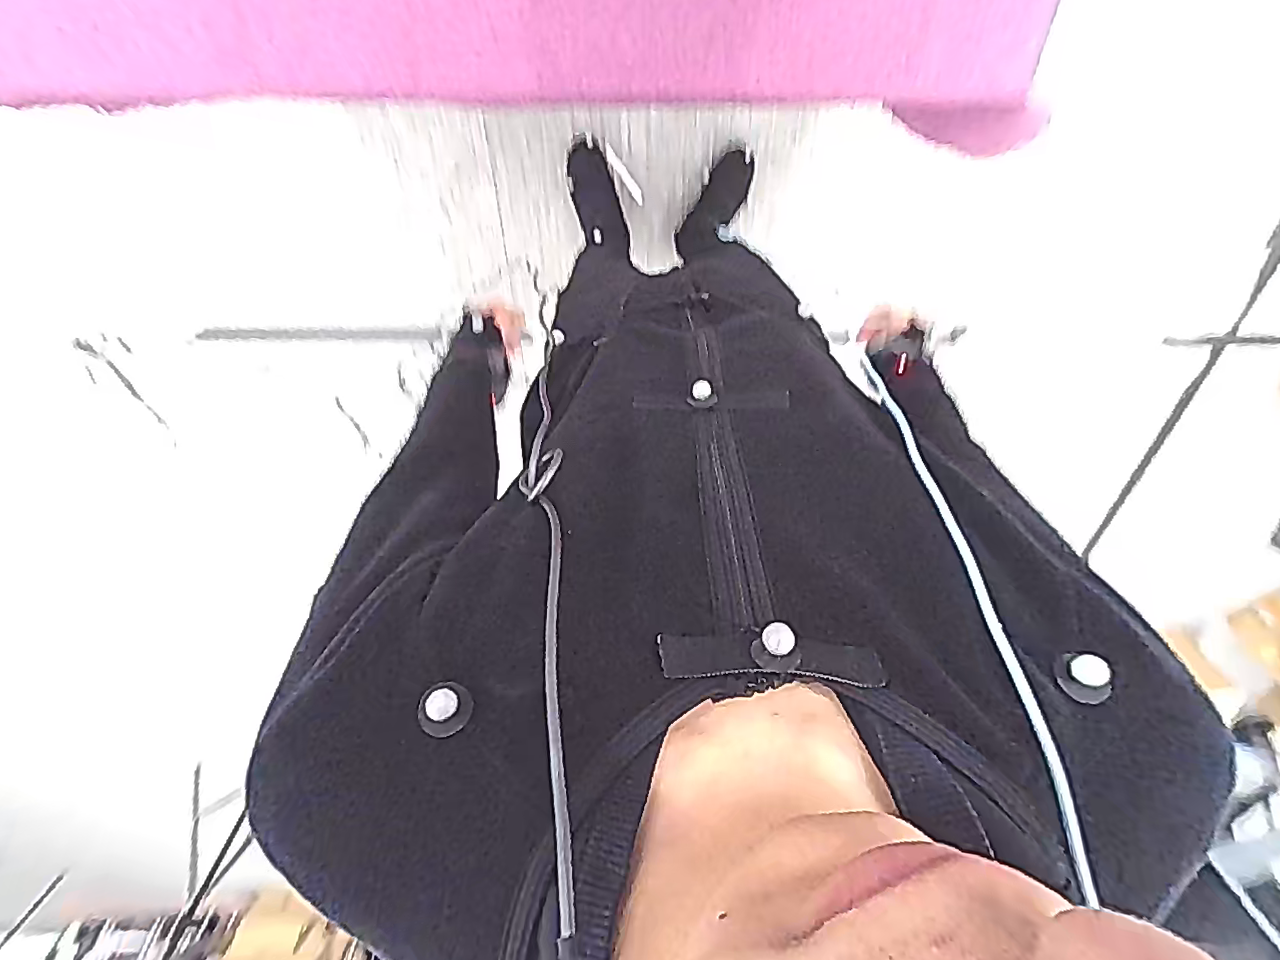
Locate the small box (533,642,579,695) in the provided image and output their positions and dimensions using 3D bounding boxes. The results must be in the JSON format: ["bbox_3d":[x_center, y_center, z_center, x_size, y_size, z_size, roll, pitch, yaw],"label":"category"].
[{"bbox_3d":[-0.369,0.837,2.407,0.179,0.176,0.168,-1,126,2],"label":"small box"}]
